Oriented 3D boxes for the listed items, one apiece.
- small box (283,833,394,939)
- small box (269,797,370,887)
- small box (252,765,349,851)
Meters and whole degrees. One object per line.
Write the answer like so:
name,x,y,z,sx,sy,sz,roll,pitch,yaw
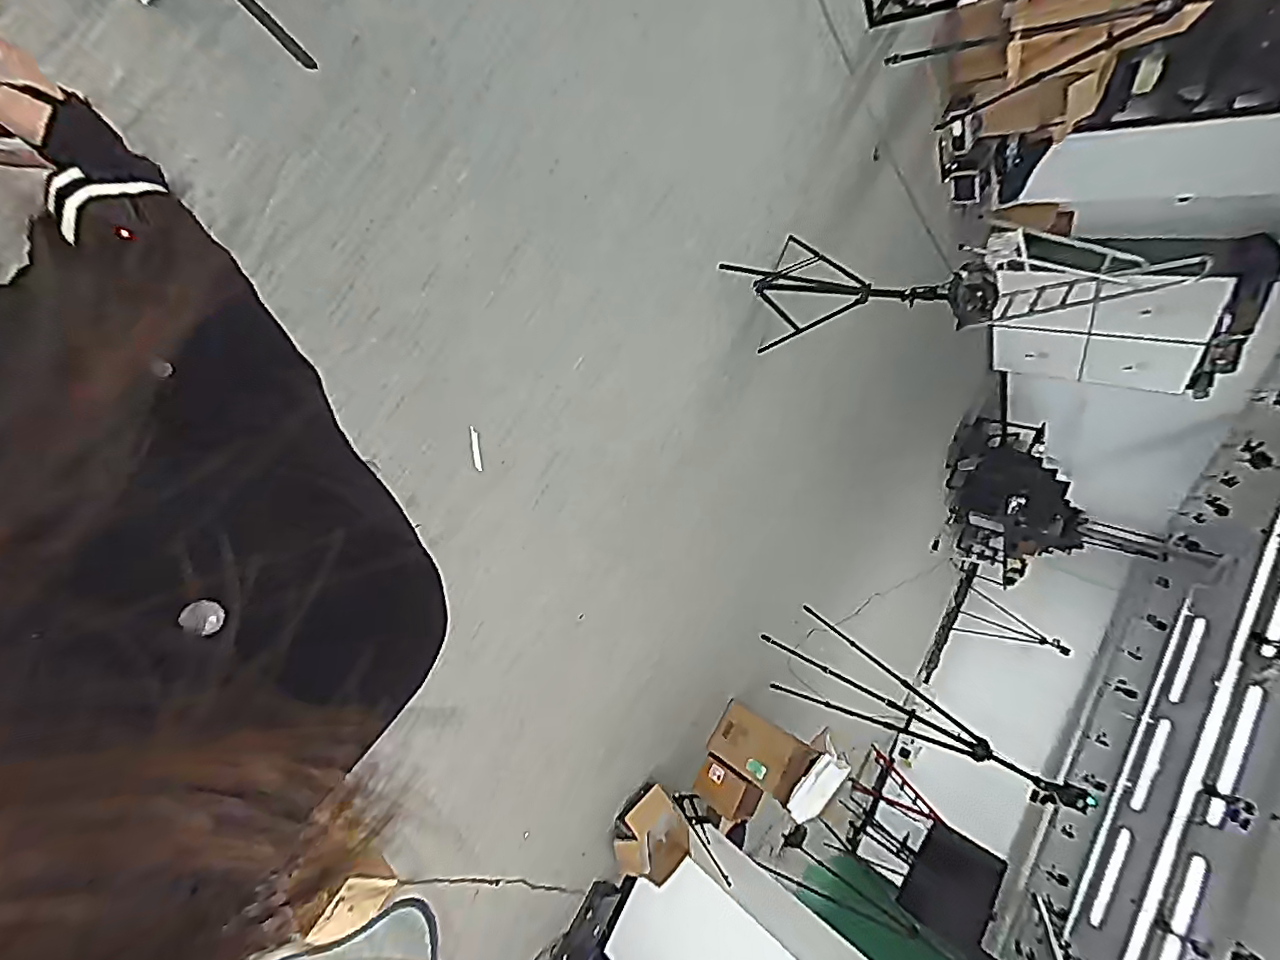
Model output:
small box,-0.827,1.107,1.485,0.168,0.176,0.179,-54,140,-17
small box,-0.946,1.063,1.590,0.179,0.176,0.168,-59,140,-12
small box,-1.063,1.018,1.692,0.179,0.176,0.168,42,73,-49
